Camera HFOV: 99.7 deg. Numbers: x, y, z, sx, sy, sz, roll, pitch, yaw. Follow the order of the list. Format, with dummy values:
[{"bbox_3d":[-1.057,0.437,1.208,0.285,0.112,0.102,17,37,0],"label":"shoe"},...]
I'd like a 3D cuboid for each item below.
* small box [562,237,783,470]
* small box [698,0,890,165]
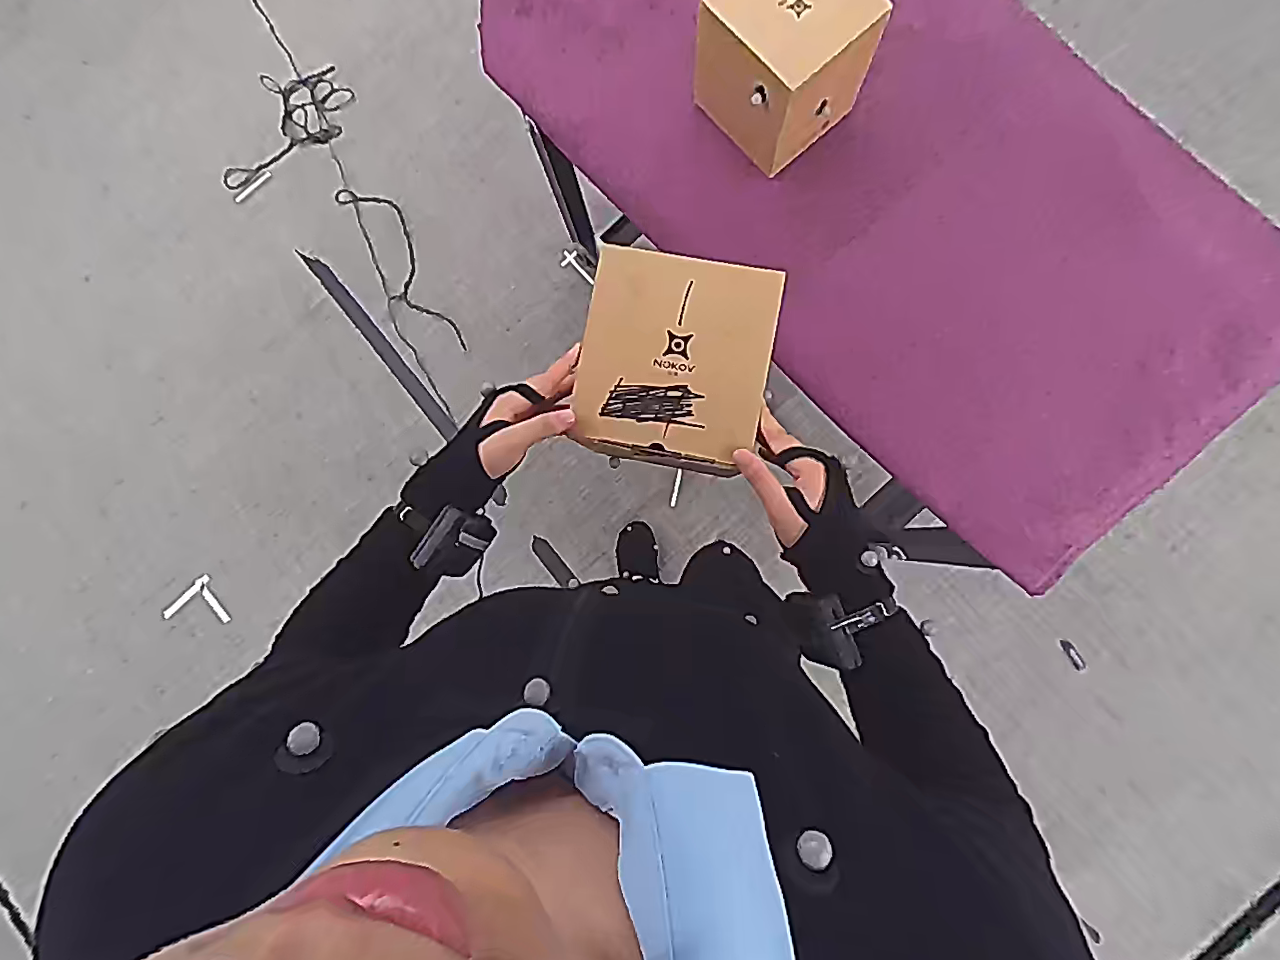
[{"bbox_3d":[0.033,-0.110,0.546,0.168,0.176,0.179,11,88,4],"label":"small box"},{"bbox_3d":[0.196,-0.577,0.743,0.168,0.176,0.179,-40,83,-1],"label":"small box"}]
